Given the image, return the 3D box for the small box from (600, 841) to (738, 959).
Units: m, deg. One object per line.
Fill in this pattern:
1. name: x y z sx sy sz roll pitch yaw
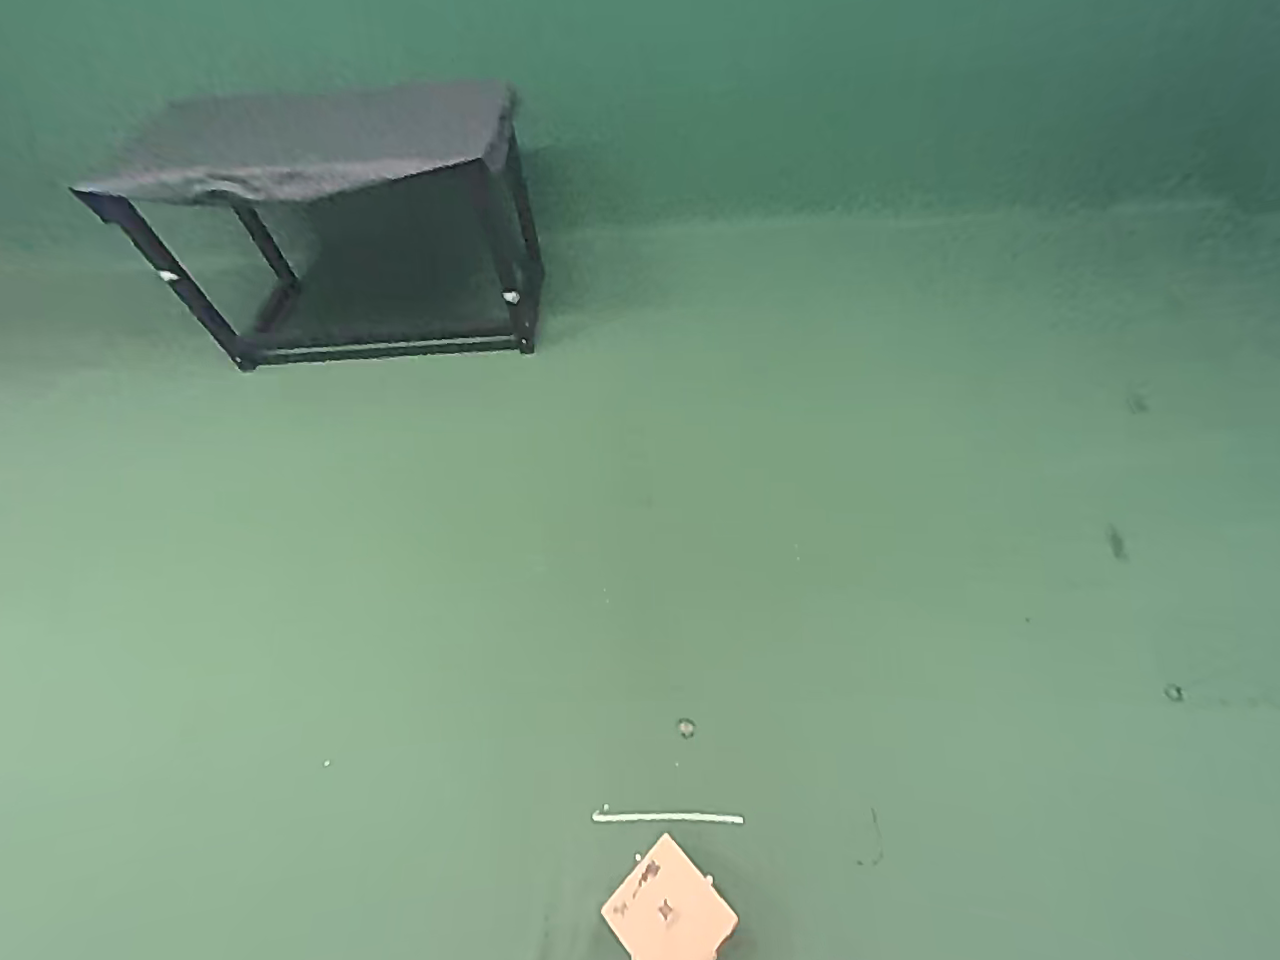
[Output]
1. small box: 0.053 0.790 0.967 0.168 0.176 0.179 -38 58 -24
